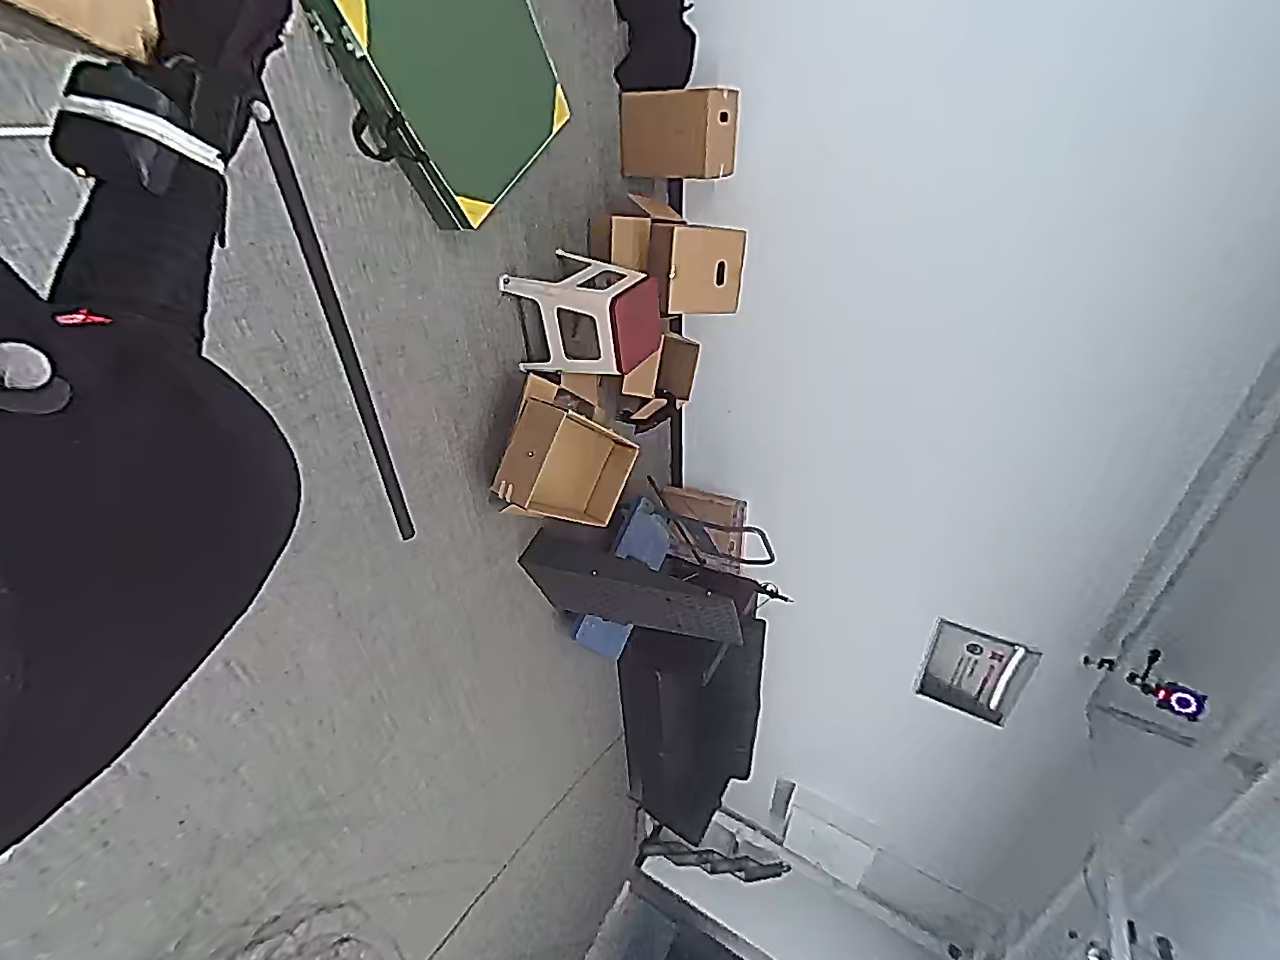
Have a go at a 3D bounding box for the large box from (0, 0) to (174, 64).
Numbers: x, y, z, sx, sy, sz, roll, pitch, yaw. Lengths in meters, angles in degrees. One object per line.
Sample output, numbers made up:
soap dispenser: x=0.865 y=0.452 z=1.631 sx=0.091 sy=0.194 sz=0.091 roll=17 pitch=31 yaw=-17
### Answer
large box: x=-0.494 y=-0.479 z=0.229 sx=0.408 sy=0.320 sz=0.320 roll=-5 pitch=121 yaw=-62
